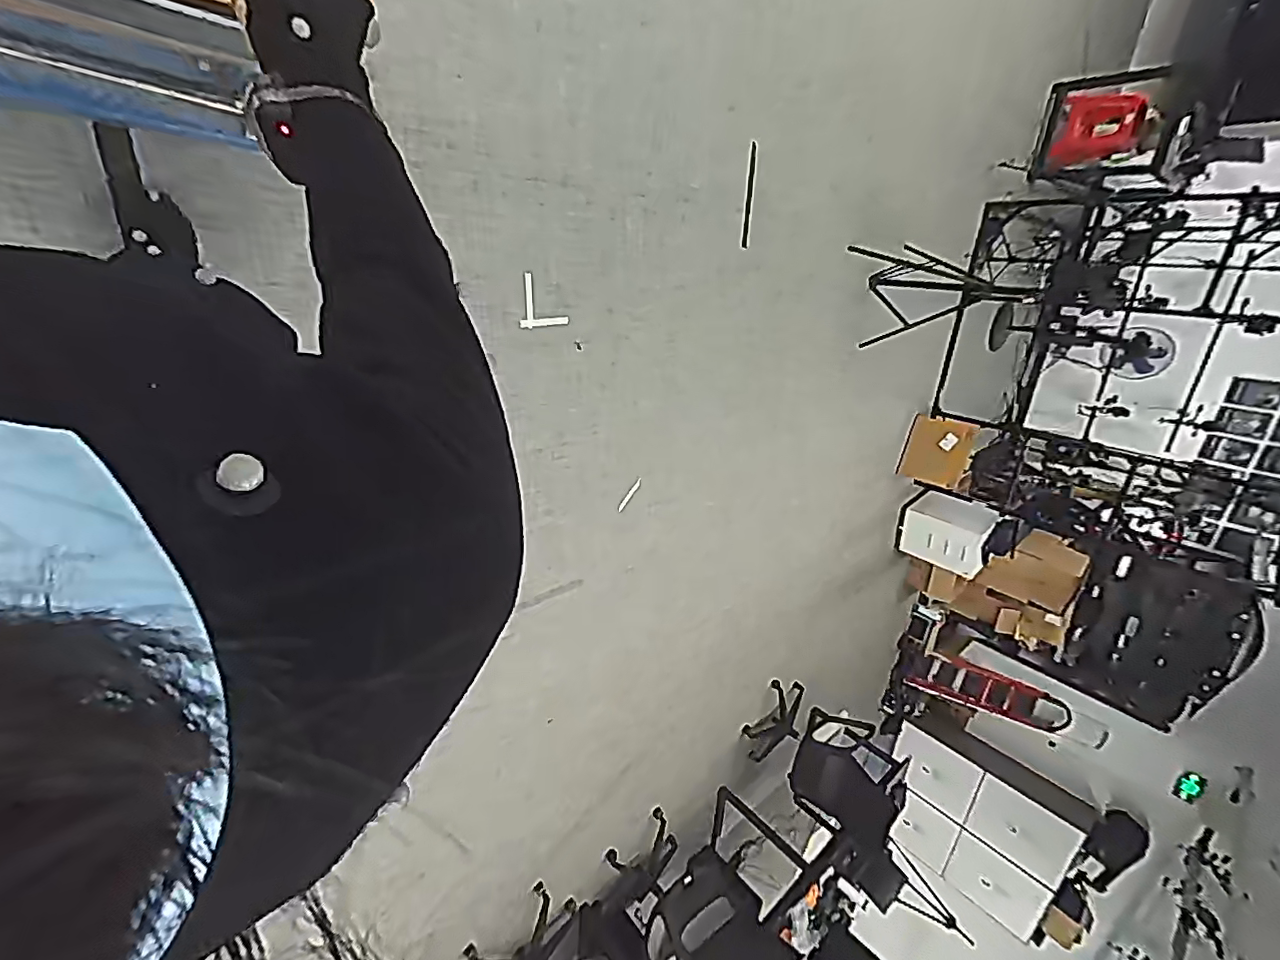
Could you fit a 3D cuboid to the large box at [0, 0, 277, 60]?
[{"bbox_3d":[-0.737,-0.781,0.658,0.408,0.320,0.320,-16,120,-41],"label":"large box"}]
